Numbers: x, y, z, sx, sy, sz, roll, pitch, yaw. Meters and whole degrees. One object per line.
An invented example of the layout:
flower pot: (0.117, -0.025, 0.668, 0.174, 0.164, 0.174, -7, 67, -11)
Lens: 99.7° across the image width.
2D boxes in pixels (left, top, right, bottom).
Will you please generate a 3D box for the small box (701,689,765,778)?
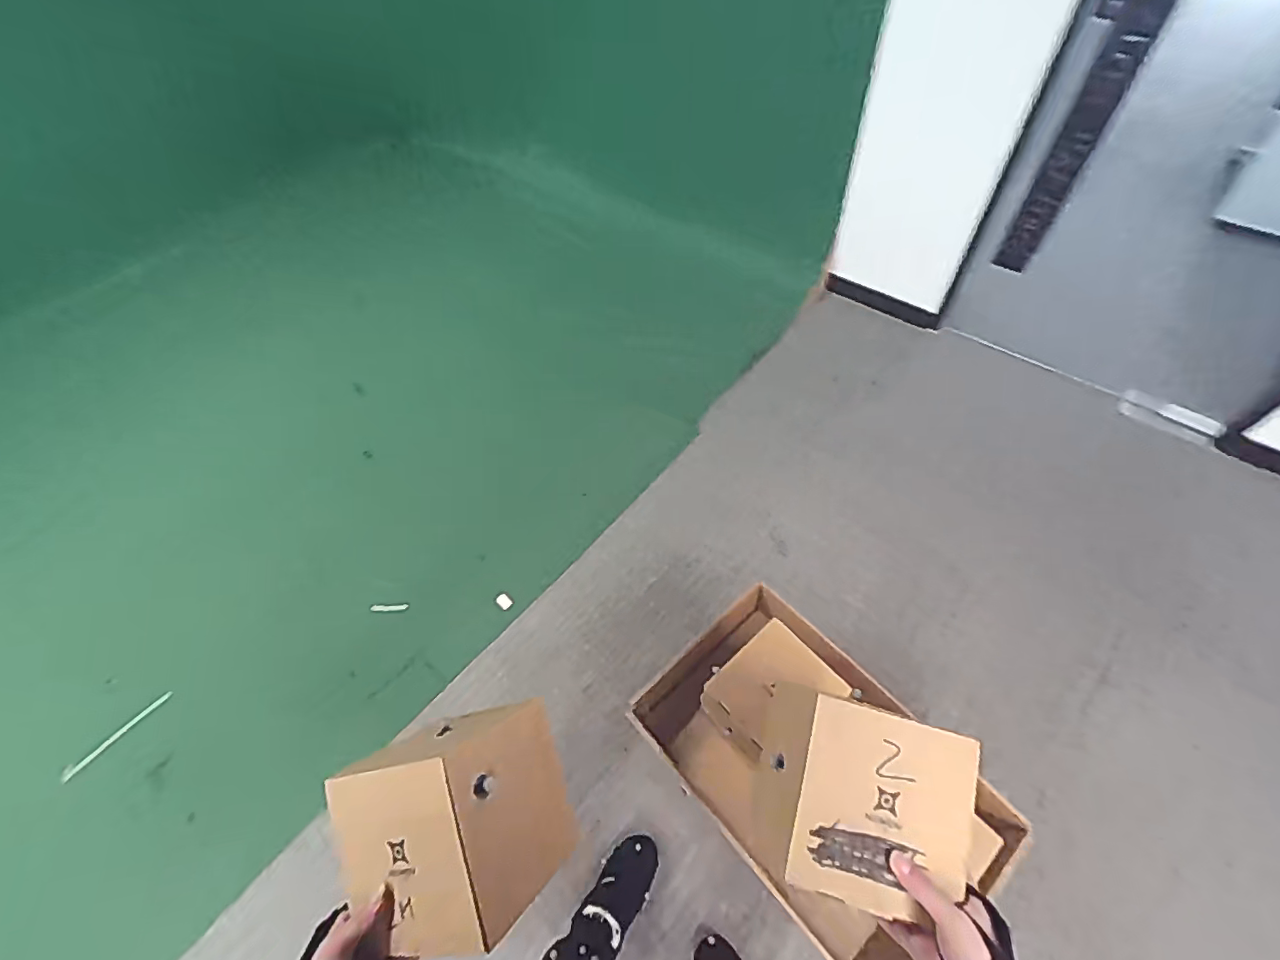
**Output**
small box: (0.235, 0.458, 1.070, 0.168, 0.176, 0.179, -37, 61, -17)

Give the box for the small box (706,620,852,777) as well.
small box: (0.225, 0.377, 0.928, 0.179, 0.176, 0.168, -38, 62, -17)

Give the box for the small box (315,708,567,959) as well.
small box: (-0.203, 0.364, 0.582, 0.168, 0.176, 0.179, -21, 81, 20)

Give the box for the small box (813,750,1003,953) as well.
small box: (0.380, 0.539, 0.803, 0.179, 0.176, 0.168, -37, 62, -18)
